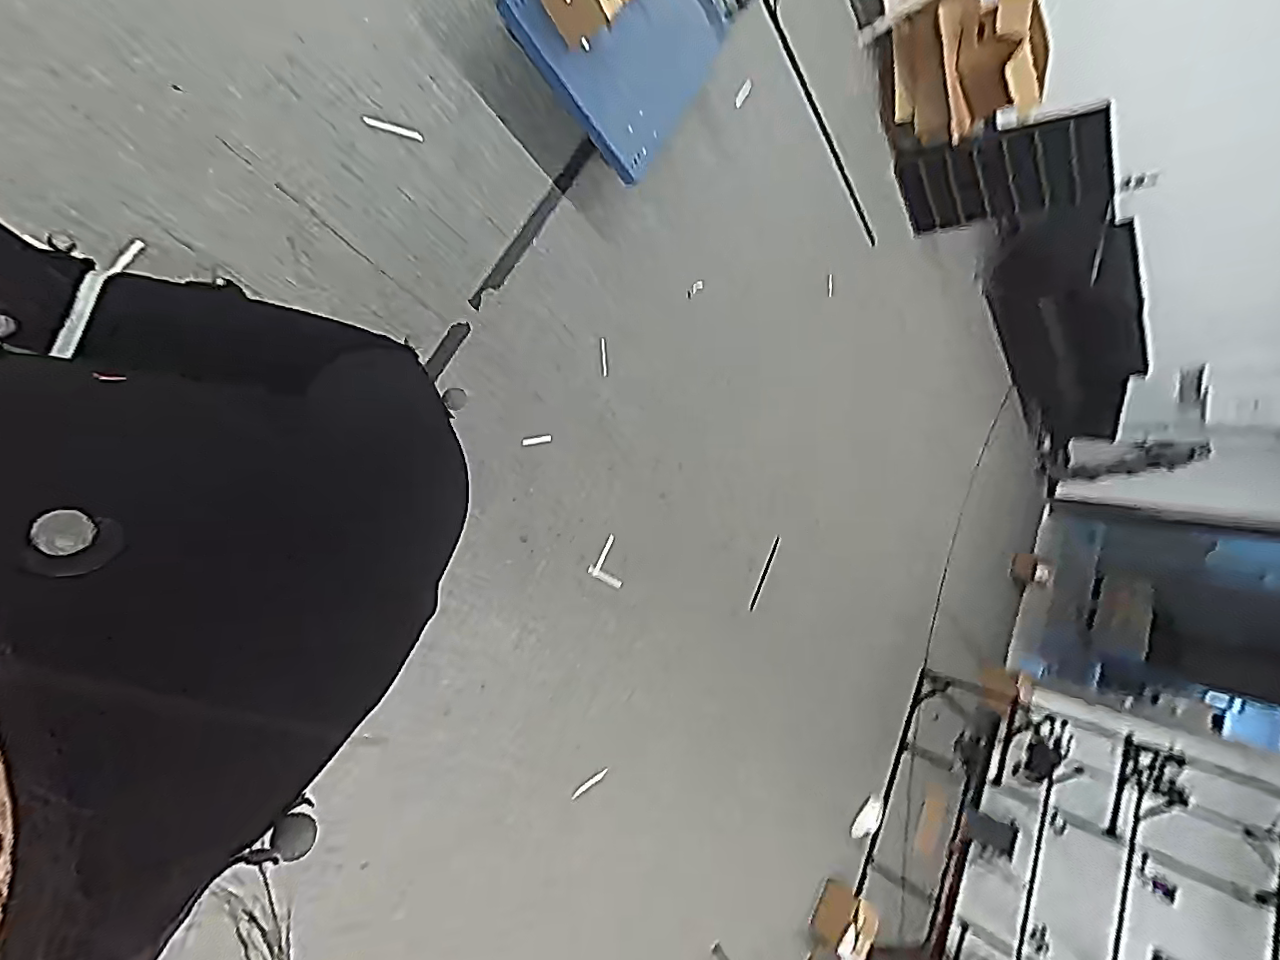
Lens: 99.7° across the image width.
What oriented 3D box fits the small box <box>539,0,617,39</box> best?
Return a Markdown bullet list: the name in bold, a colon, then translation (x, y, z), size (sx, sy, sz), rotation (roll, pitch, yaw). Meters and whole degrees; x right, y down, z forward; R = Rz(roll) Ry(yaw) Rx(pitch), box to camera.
- **small box**: translation (-0.158, -1.296, 1.400), size (0.179, 0.176, 0.168), rotation (44, 66, -36)
